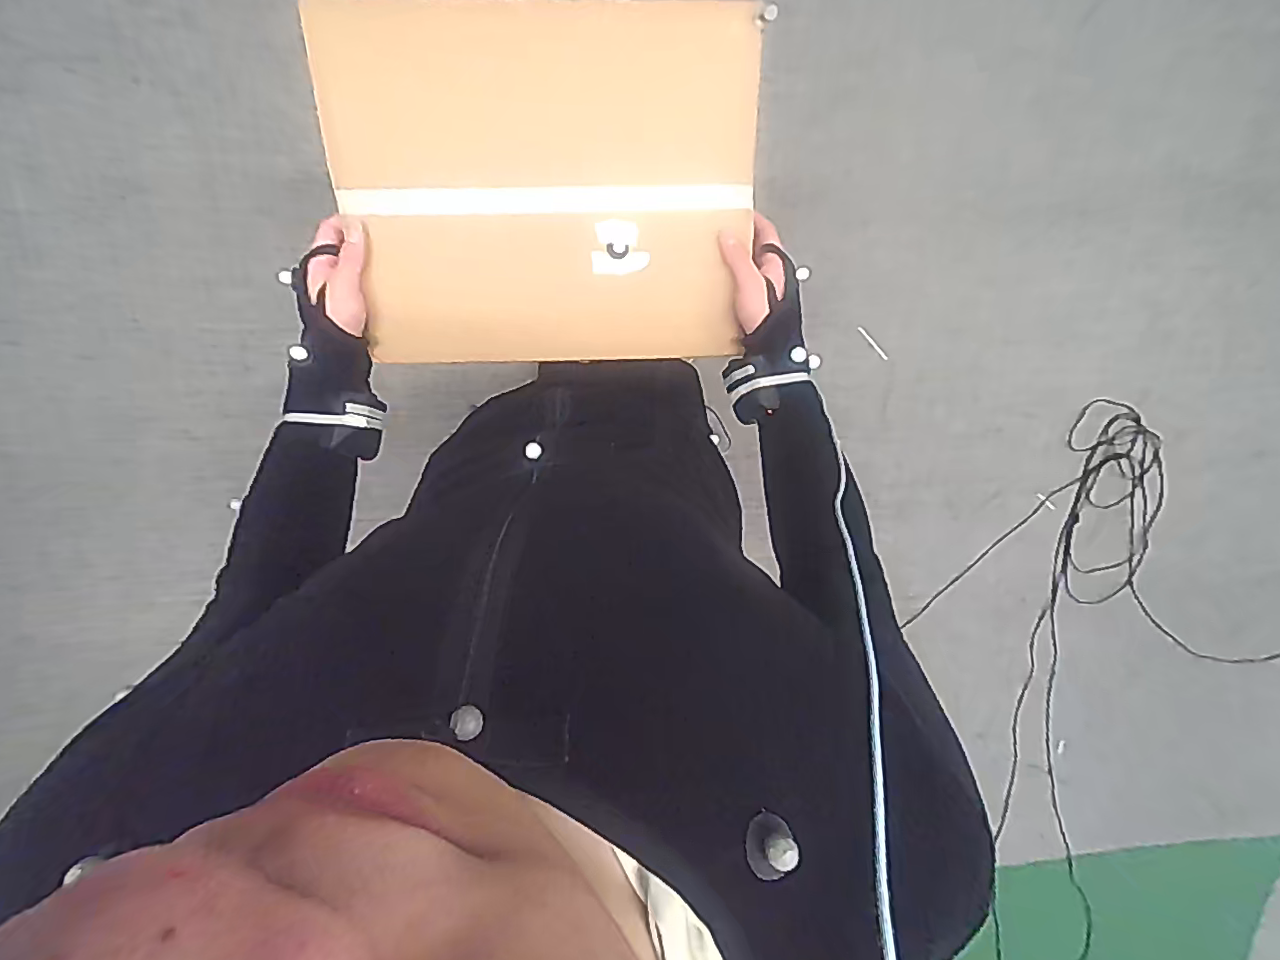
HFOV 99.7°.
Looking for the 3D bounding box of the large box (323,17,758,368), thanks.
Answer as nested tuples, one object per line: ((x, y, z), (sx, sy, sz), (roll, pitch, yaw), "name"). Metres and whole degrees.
((-0.095, -0.329, 0.684), (0.408, 0.320, 0.320), (-2, 112, -3), "large box")
